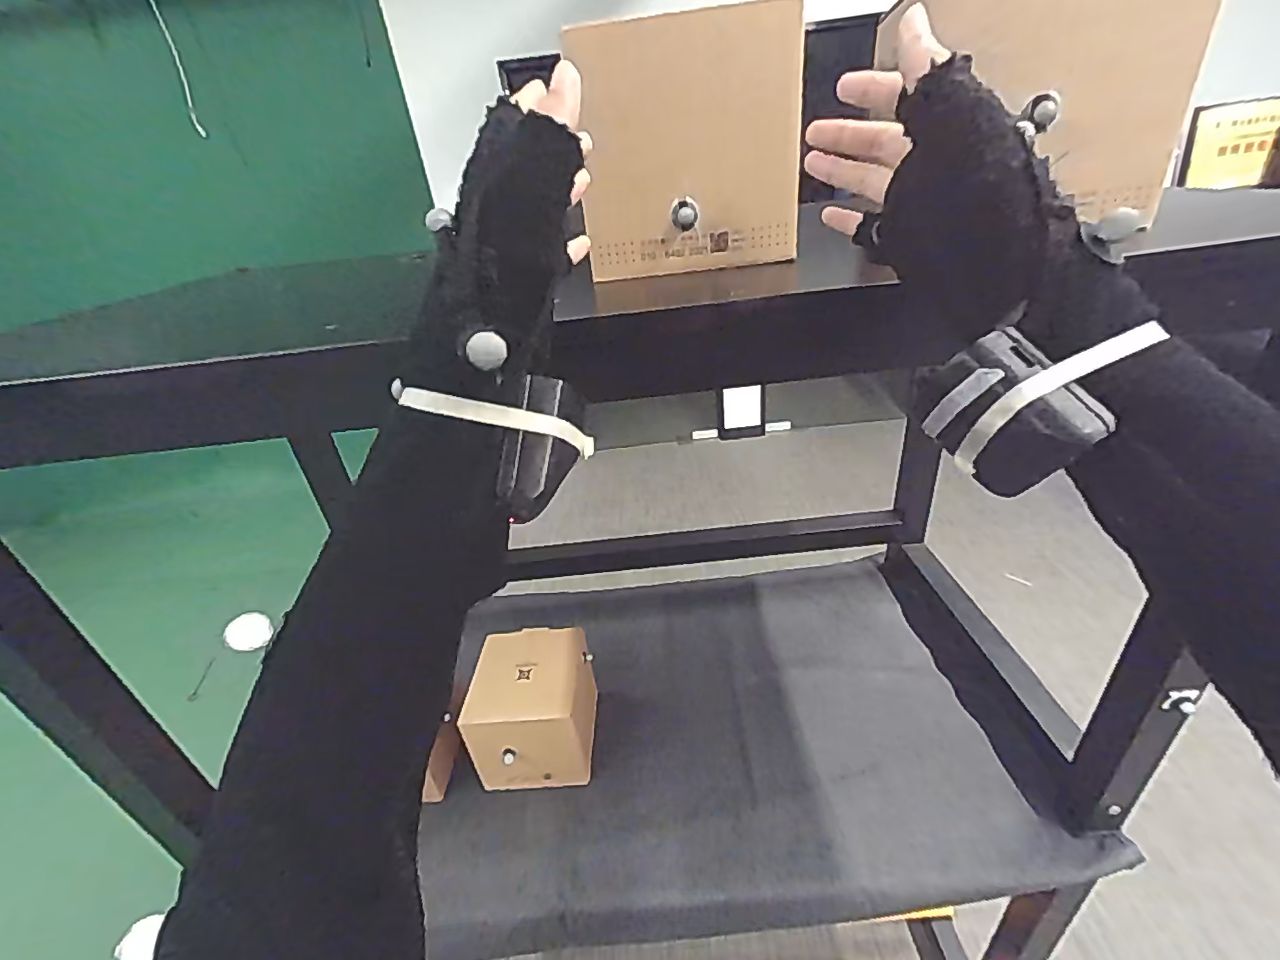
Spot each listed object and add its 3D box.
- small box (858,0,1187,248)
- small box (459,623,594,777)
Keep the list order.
[{"bbox_3d":[0.282,-0.290,0.439,0.168,0.176,0.179,0,30,12],"label":"small box"},{"bbox_3d":[-0.171,0.360,0.881,0.168,0.176,0.179,-5,29,3],"label":"small box"}]
